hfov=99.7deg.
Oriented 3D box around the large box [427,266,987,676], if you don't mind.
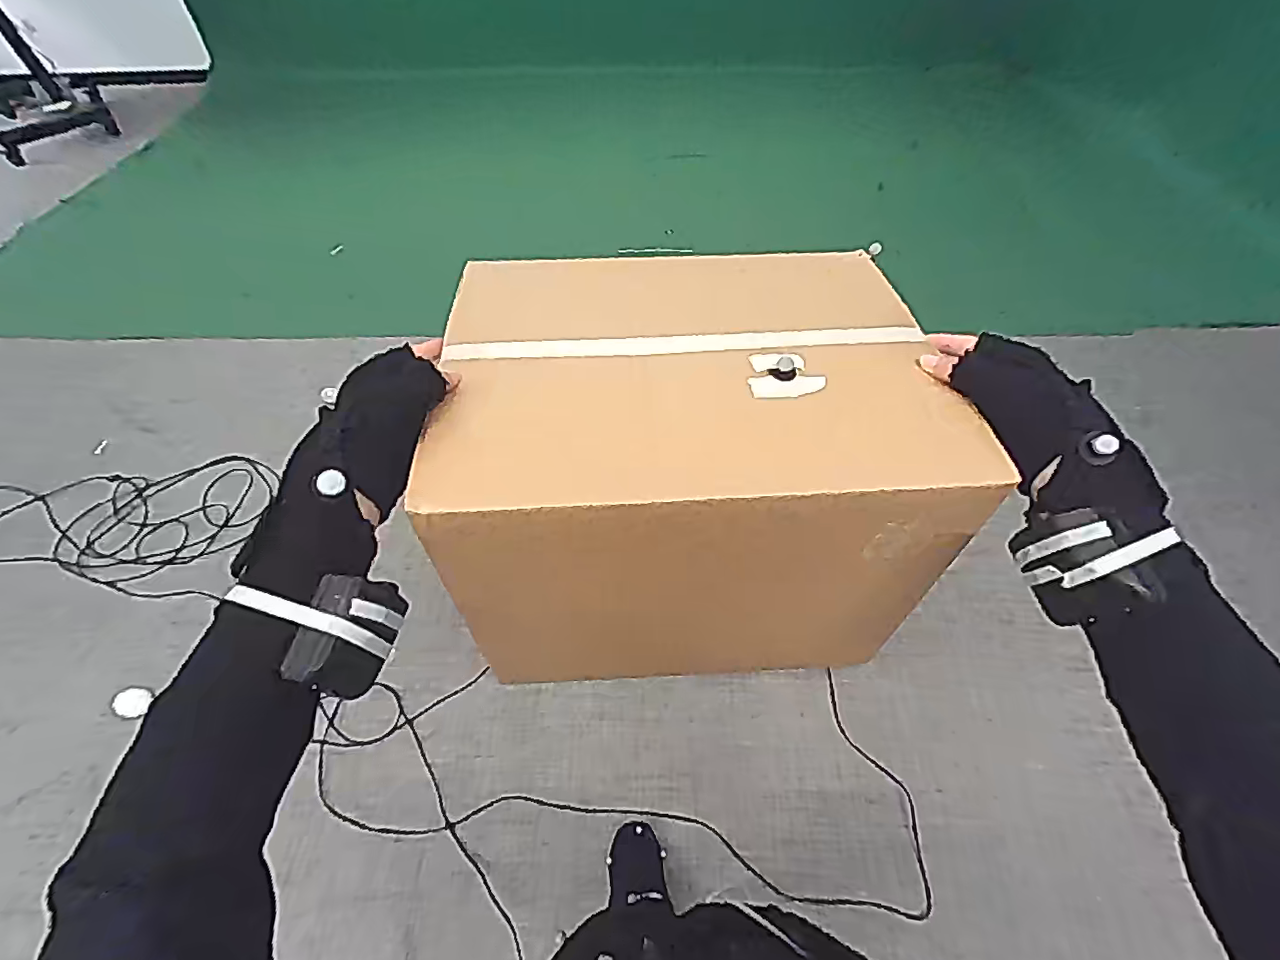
[{"bbox_3d":[0.038,-0.007,0.580,0.408,0.320,0.320,-2,50,-3],"label":"large box"}]
